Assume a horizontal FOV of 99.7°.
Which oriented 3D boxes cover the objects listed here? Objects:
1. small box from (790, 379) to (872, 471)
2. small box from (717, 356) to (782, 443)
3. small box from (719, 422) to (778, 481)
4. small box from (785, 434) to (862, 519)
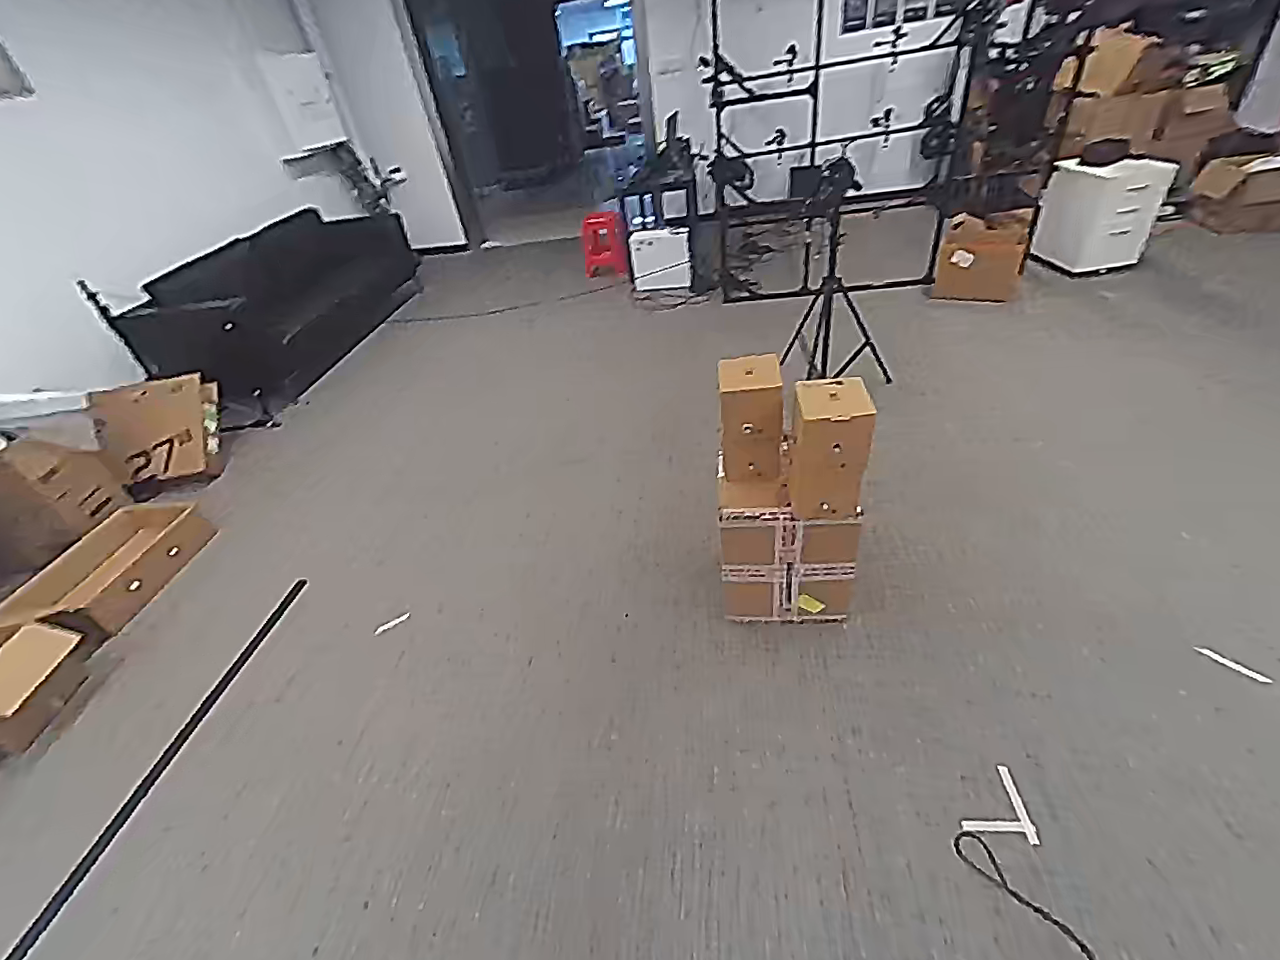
[{"bbox_3d":[0.476,-0.133,1.370,0.168,0.176,0.179,-3,41,9],"label":"small box"},{"bbox_3d":[0.305,-0.225,1.519,0.168,0.176,0.179,-5,41,10],"label":"small box"},{"bbox_3d":[0.327,-0.115,1.639,0.168,0.176,0.179,-4,41,10],"label":"small box"},{"bbox_3d":[0.492,-0.013,1.480,0.168,0.176,0.179,-4,41,8],"label":"small box"}]
